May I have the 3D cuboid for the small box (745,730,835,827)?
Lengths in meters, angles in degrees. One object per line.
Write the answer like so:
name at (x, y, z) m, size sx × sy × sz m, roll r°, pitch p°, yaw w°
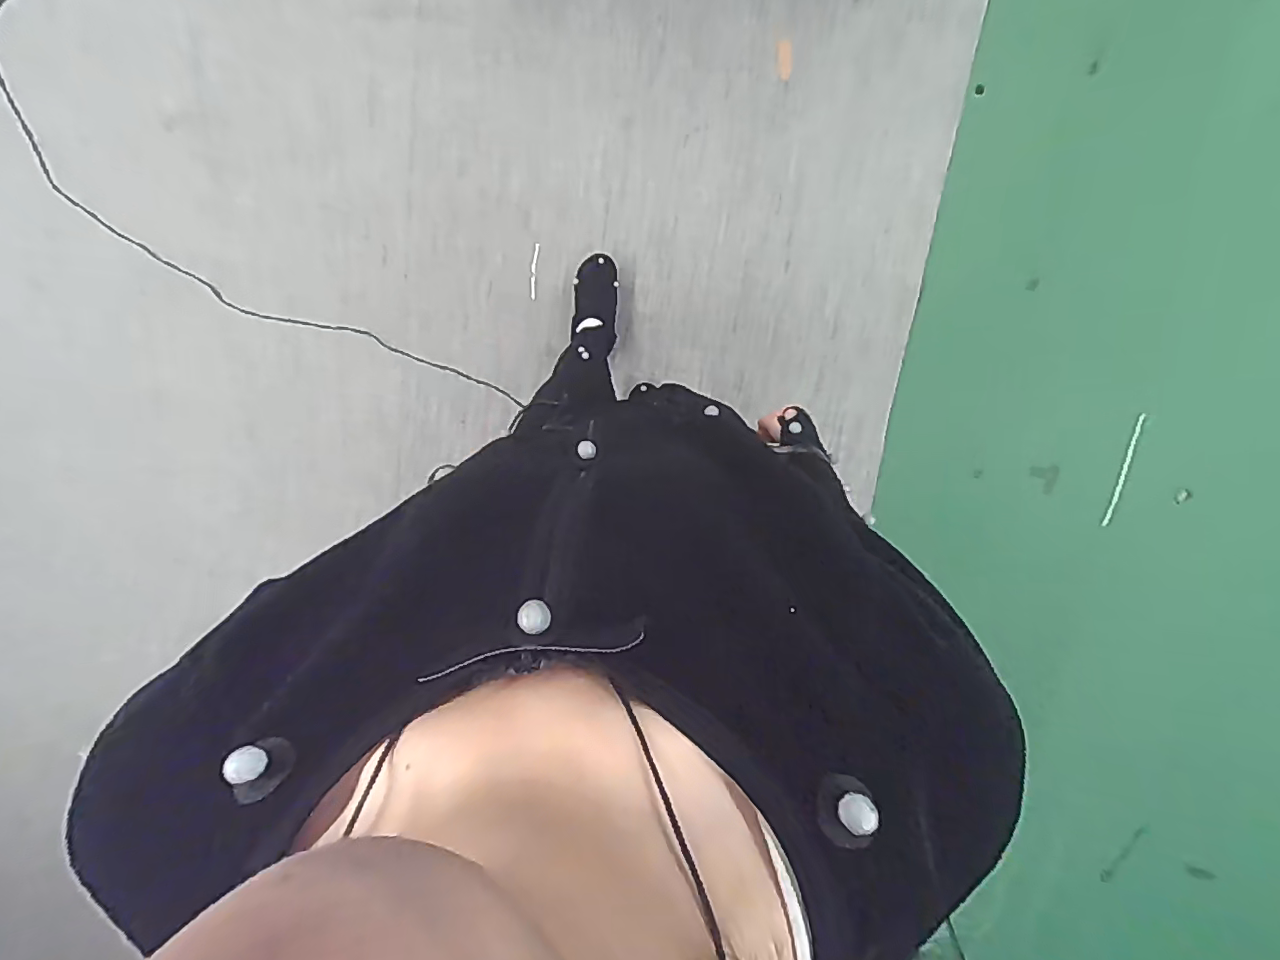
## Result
small box at (0.337, 0.690, 1.230) m, size 0.168 × 0.176 × 0.179 m, roll -5°, pitch 101°, yaw 3°

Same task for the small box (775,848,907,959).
small box at (0.327, 0.757, 0.909) m, size 0.179 × 0.176 × 0.168 m, roll -5°, pitch 101°, yaw 4°

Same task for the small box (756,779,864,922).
small box at (0.329, 0.724, 1.070) m, size 0.179 × 0.176 × 0.168 m, roll -6°, pitch 100°, yaw 3°
